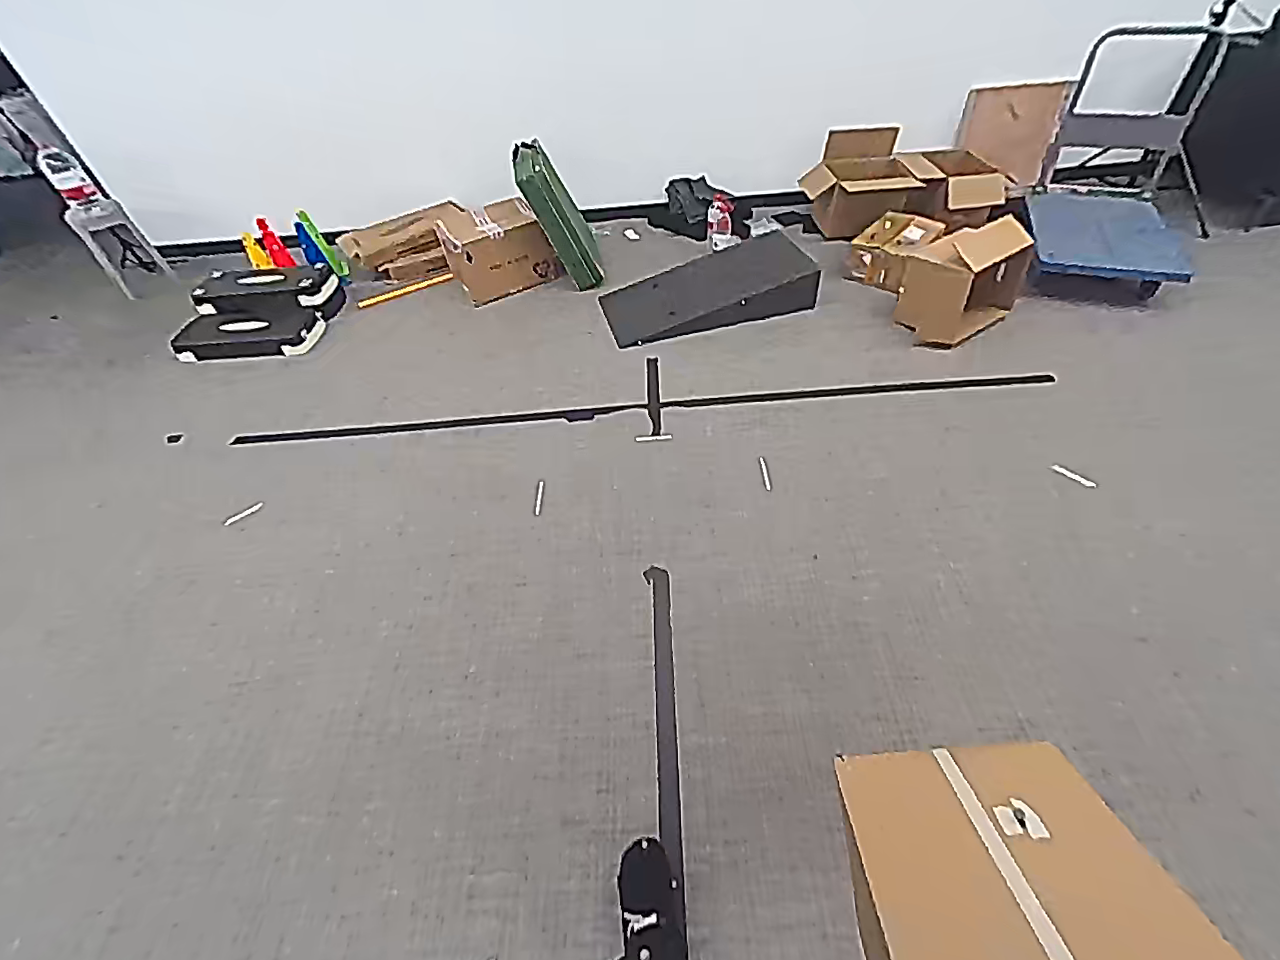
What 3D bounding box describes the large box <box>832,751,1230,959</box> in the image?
[{"bbox_3d":[0.455,0.609,0.661,0.320,0.320,0.408,-8,9,9],"label":"large box"}]
